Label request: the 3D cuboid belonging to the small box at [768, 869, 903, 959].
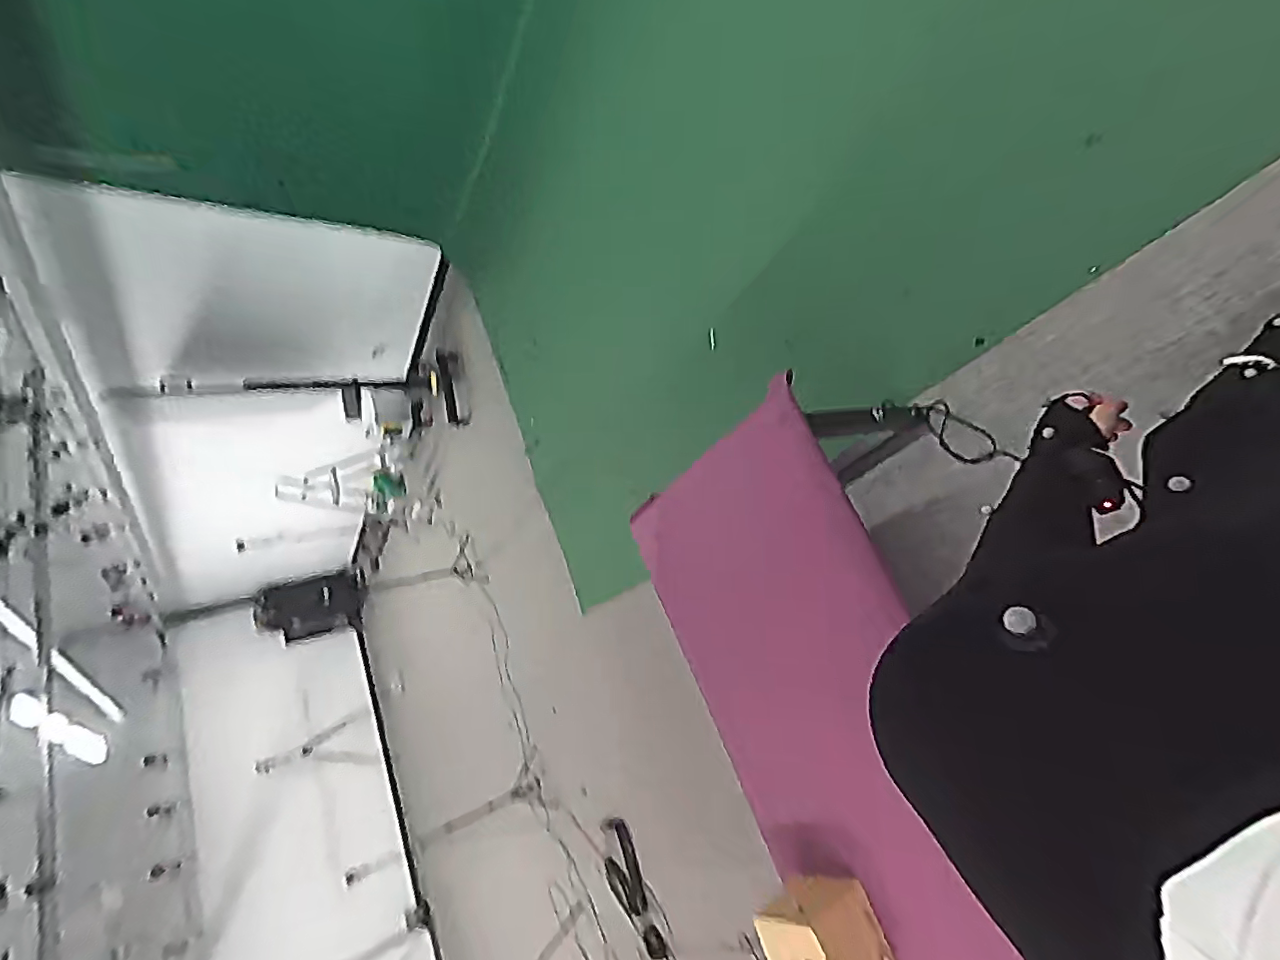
[{"bbox_3d":[0.405,0.931,1.106,0.179,0.176,0.168,-43,64,46],"label":"small box"}]
